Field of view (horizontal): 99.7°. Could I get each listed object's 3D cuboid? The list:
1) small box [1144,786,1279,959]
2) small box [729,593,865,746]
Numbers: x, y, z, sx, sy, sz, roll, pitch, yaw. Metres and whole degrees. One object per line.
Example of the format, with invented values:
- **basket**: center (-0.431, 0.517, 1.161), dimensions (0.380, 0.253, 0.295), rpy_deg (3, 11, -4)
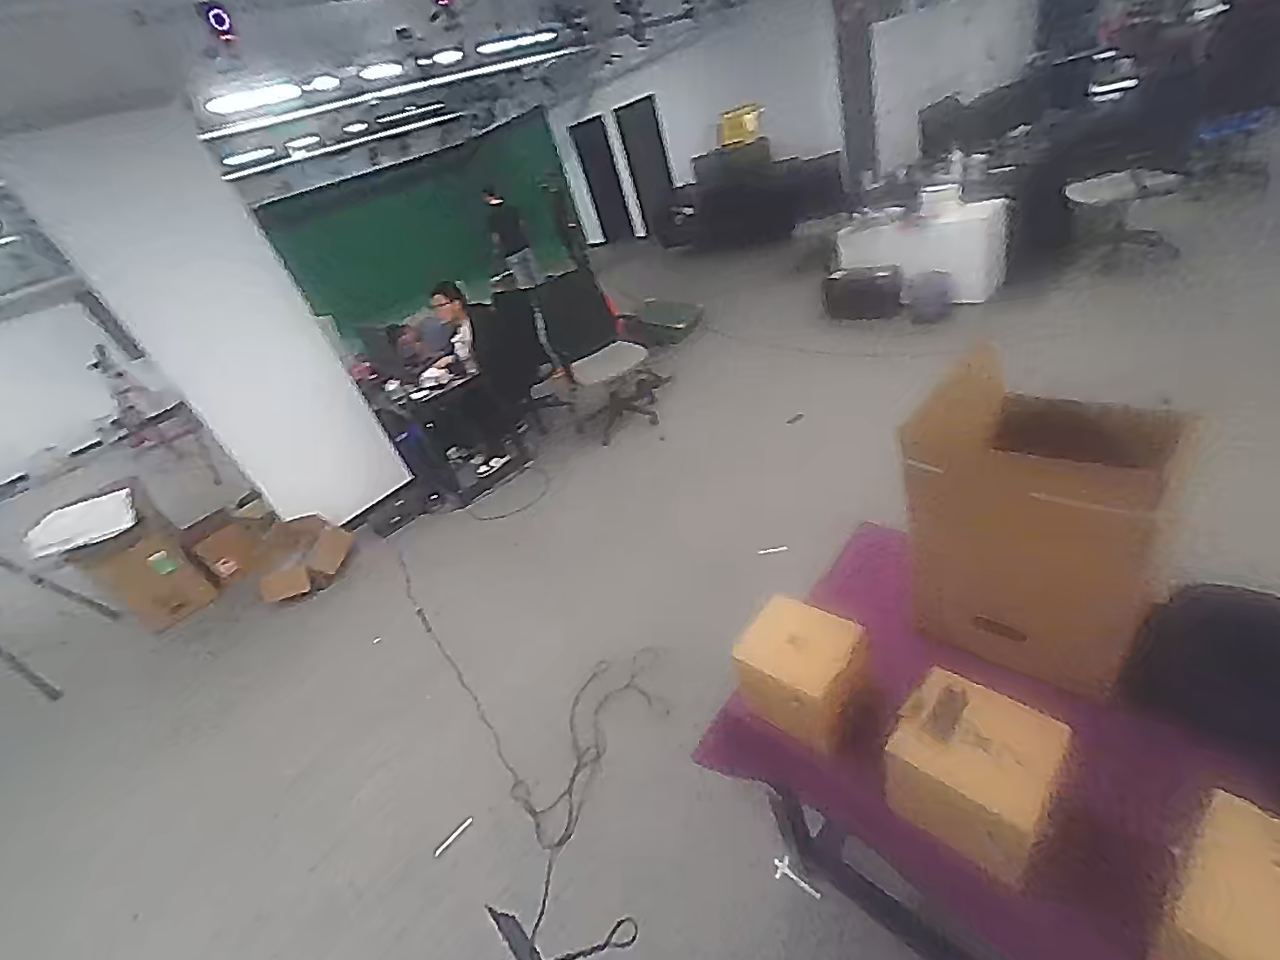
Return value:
- **small box**: center (0.669, 0.479, 0.566), dimensions (0.179, 0.176, 0.168), rpy_deg (-38, 36, -26)
- **small box**: center (0.291, 0.343, 0.985), dimensions (0.179, 0.176, 0.168), rpy_deg (16, 46, 42)
